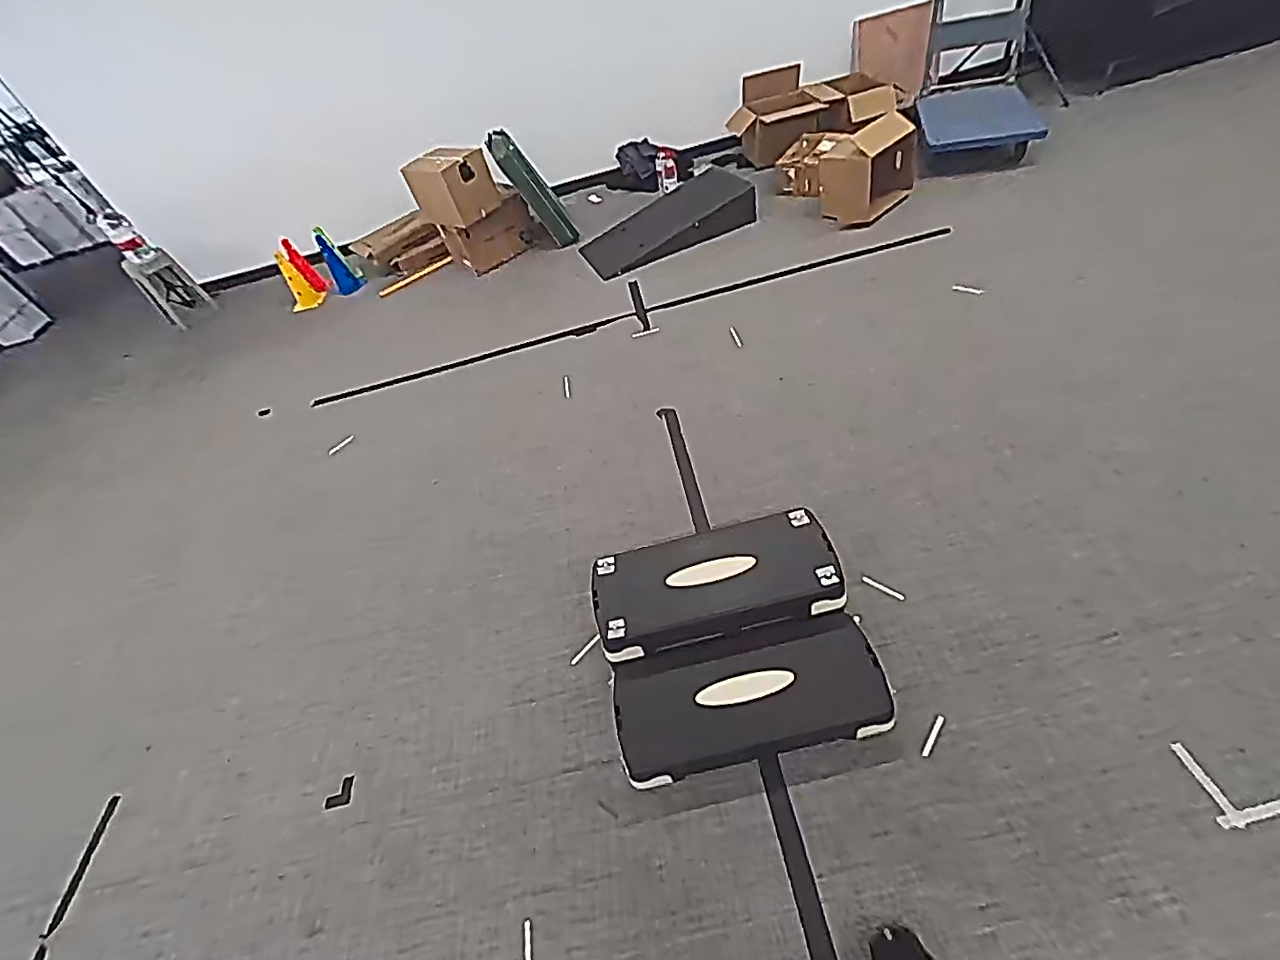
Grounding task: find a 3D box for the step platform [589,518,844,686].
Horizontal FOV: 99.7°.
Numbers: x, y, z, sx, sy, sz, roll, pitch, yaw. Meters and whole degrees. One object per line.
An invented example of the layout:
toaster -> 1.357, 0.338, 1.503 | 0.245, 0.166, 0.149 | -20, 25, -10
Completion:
step platform -> 0.200, 0.333, 1.509 | 0.684, 0.204, 0.286 | -15, 47, 1
